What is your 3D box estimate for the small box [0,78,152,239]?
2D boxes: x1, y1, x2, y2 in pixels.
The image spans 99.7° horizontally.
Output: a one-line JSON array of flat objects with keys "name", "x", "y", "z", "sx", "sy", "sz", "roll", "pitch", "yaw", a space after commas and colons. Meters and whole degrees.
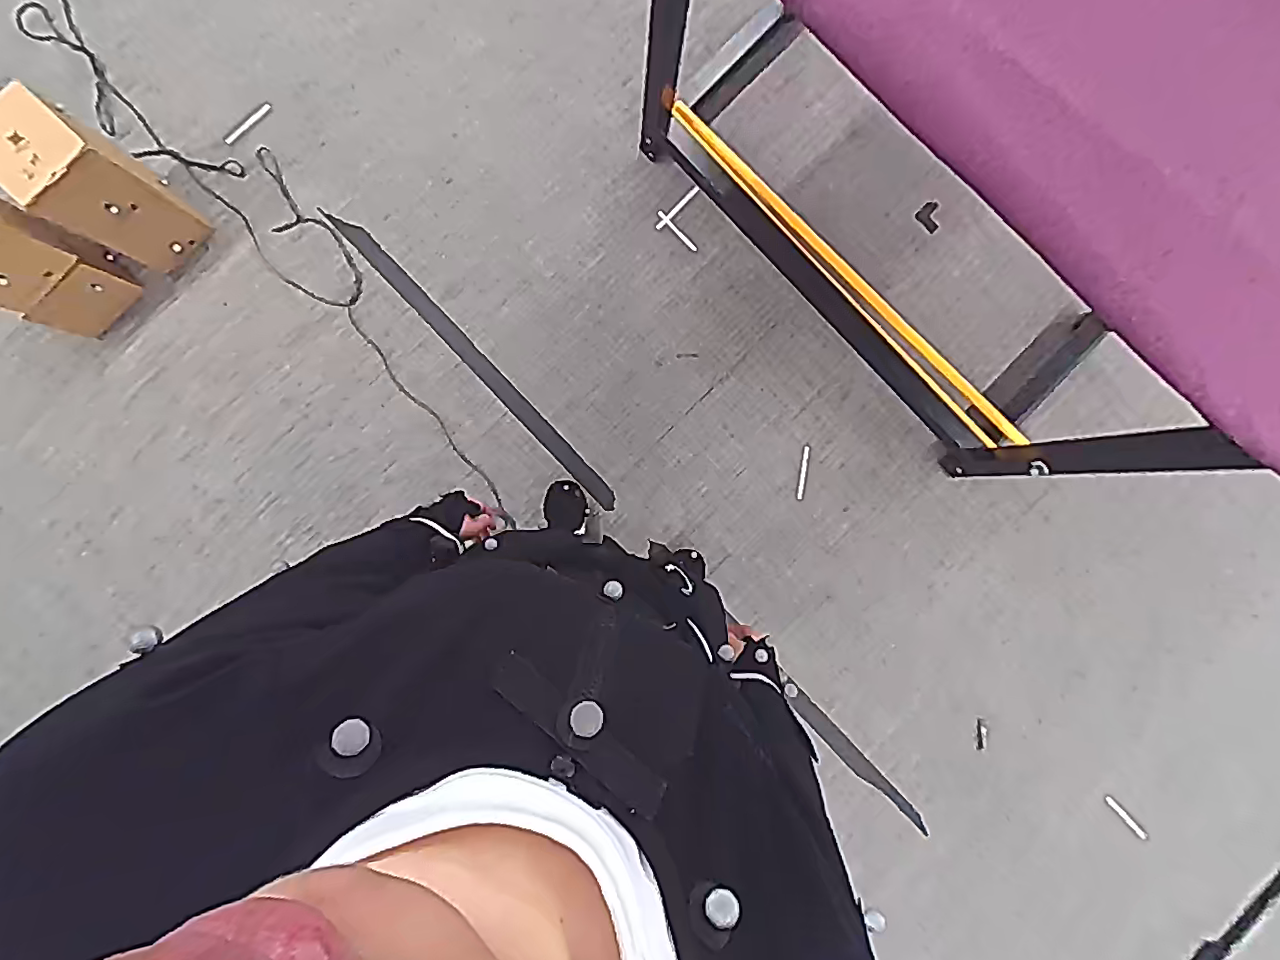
[{"name": "small box", "x": -1.143, "y": -0.618, "z": 1.064, "sx": 0.179, "sy": 0.176, "sz": 0.168, "roll": 44, "pitch": 88, "yaw": -3}]

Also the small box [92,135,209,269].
[{"name": "small box", "x": -1.155, "y": -0.618, "z": 1.228, "sx": 0.168, "sy": 0.176, "sz": 0.179, "roll": -44, "pitch": 93, "yaw": -2}]

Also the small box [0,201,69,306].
[{"name": "small box", "x": -1.307, "y": -0.465, "z": 1.057, "sx": 0.179, "sy": 0.176, "sz": 0.168, "roll": 40, "pitch": 88, "yaw": -2}]
